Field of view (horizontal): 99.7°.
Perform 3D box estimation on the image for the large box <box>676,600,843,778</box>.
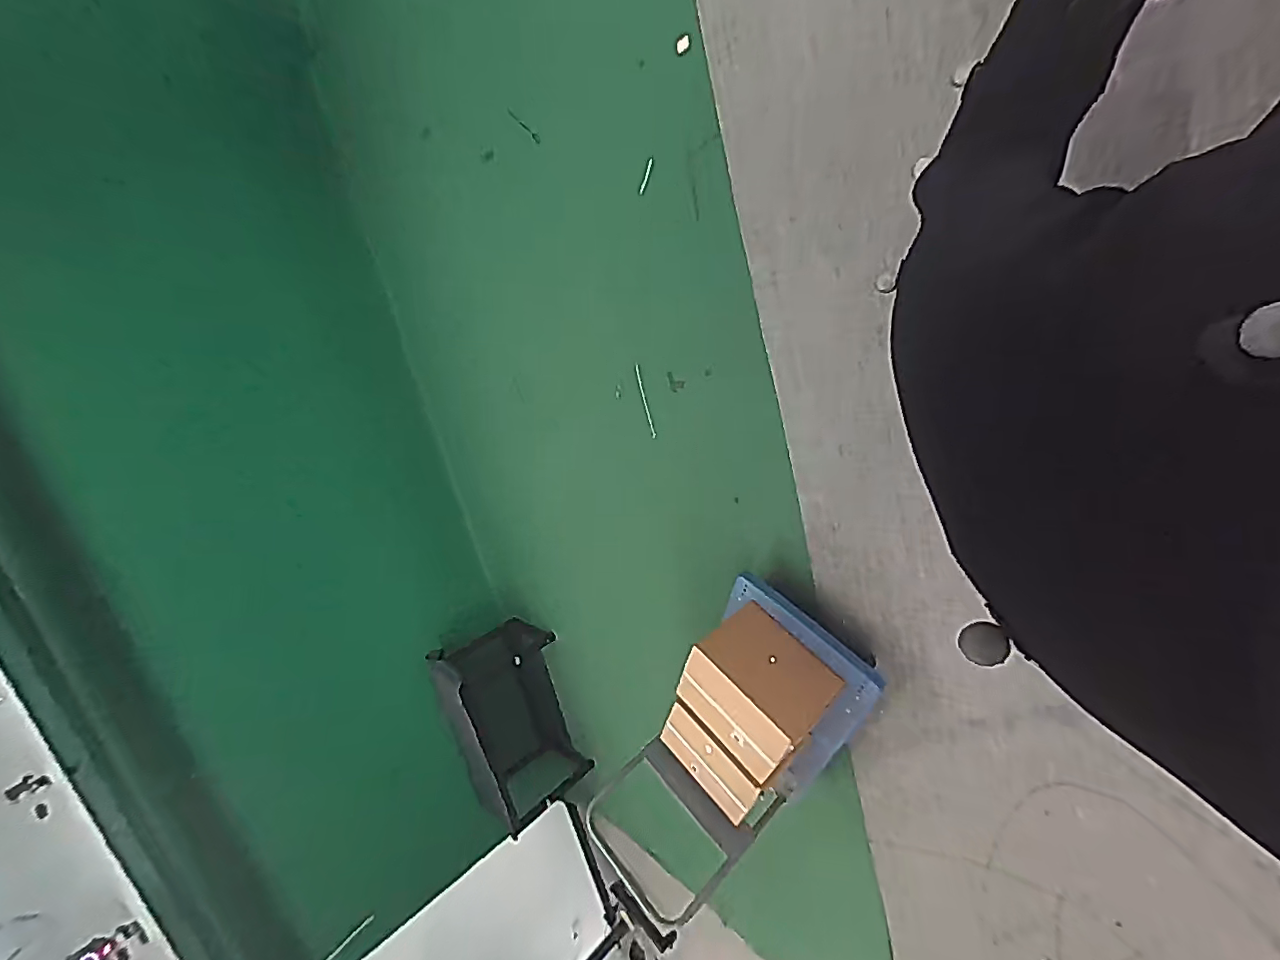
[{"bbox_3d":[0.393,0.692,1.837,0.408,0.320,0.320,39,137,29],"label":"large box"}]
